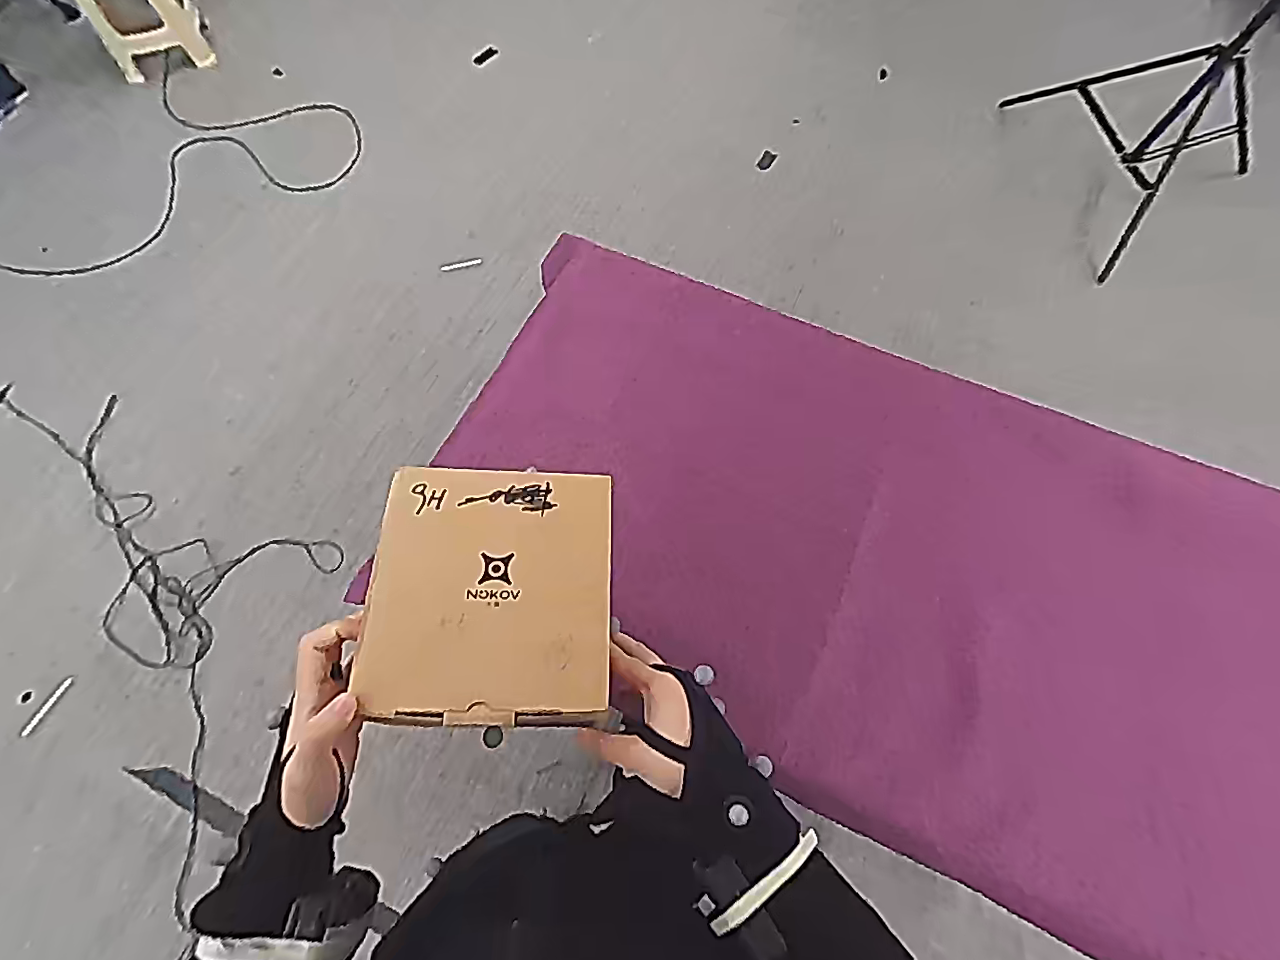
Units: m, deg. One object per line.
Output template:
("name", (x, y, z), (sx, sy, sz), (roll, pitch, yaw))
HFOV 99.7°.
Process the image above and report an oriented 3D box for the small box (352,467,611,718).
("small box", (-0.113, 0.106, 0.458), (0.168, 0.176, 0.179), (3, 65, -7))
